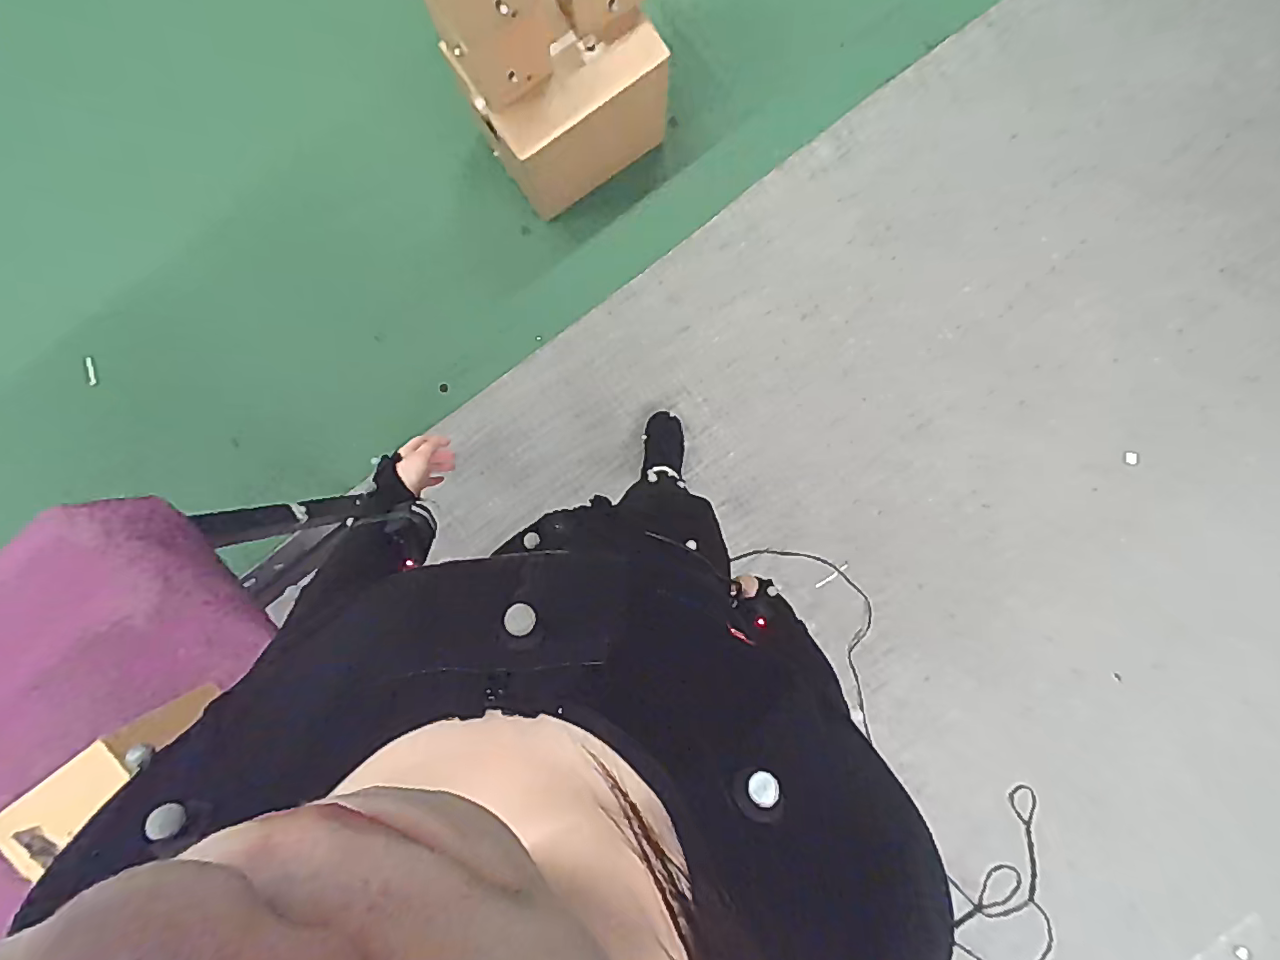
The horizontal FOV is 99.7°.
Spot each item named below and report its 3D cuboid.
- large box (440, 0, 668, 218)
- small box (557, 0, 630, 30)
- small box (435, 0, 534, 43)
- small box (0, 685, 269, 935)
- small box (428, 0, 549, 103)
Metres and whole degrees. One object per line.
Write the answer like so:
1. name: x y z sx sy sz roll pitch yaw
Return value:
1. large box: -0.187 -0.933 1.307 0.408 0.320 0.320 -35 92 0
2. small box: -0.101 -1.053 1.058 0.179 0.176 0.168 -30 91 1
3. small box: -0.296 -0.900 0.900 0.168 0.176 0.179 -36 92 1
4. small box: -0.636 0.402 0.690 0.179 0.176 0.168 -37 92 1
5. small box: -0.301 -0.906 1.065 0.168 0.176 0.179 -35 92 0
